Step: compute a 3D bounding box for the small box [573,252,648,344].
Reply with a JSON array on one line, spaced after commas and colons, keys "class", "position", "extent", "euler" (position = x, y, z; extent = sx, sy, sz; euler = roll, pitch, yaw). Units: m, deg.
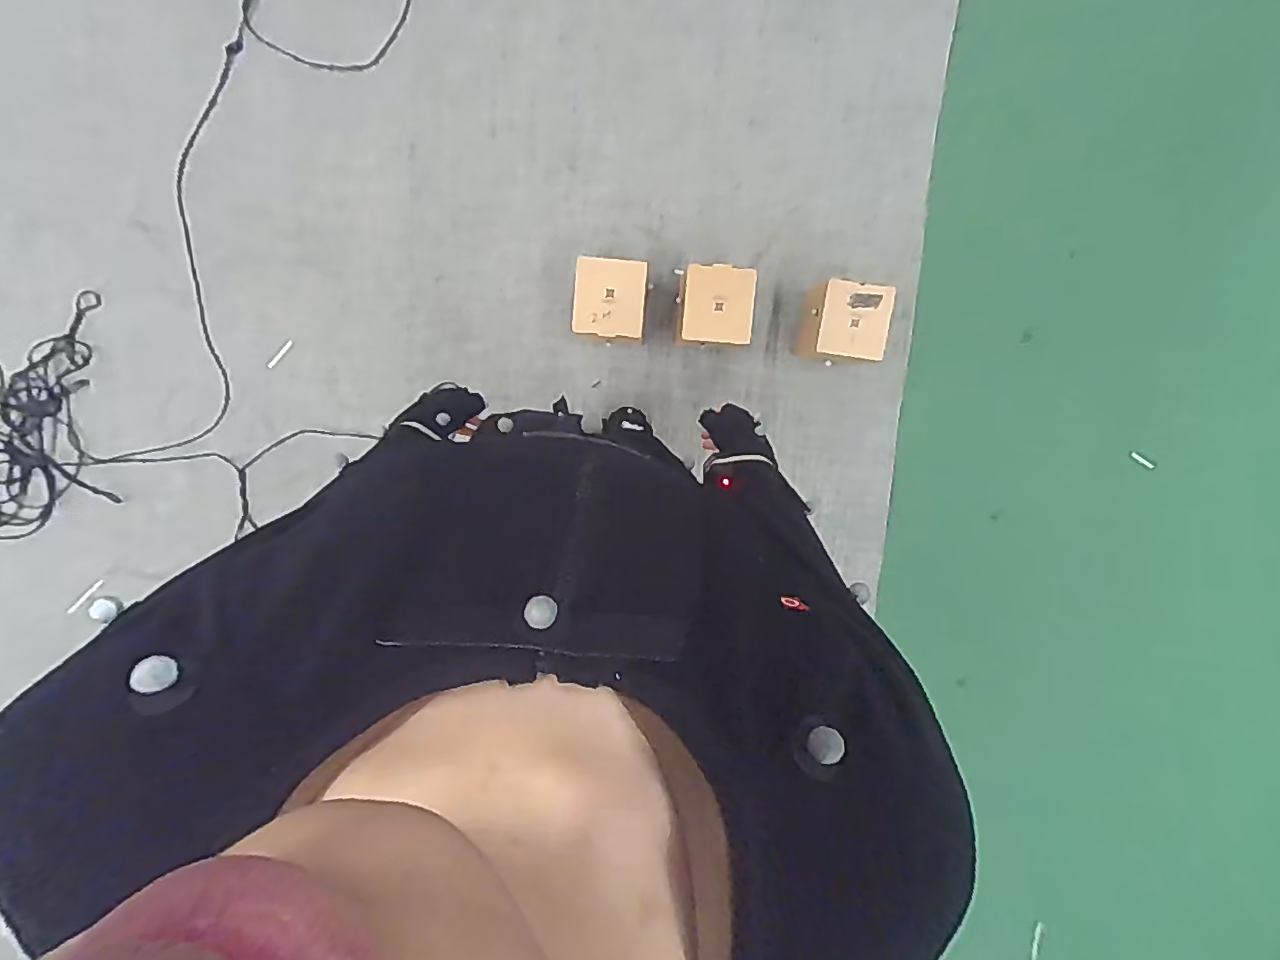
[{"class": "small box", "position": [-0.071, -0.441, 1.332], "extent": [0.168, 0.176, 0.179], "euler": [5, 98, -1]}]

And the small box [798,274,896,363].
[{"class": "small box", "position": [0.508, -0.396, 1.353], "extent": [0.168, 0.176, 0.179], "euler": [8, 99, -2]}]

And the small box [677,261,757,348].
[{"class": "small box", "position": [0.183, -0.427, 1.342], "extent": [0.168, 0.176, 0.179], "euler": [4, 97, -2]}]
